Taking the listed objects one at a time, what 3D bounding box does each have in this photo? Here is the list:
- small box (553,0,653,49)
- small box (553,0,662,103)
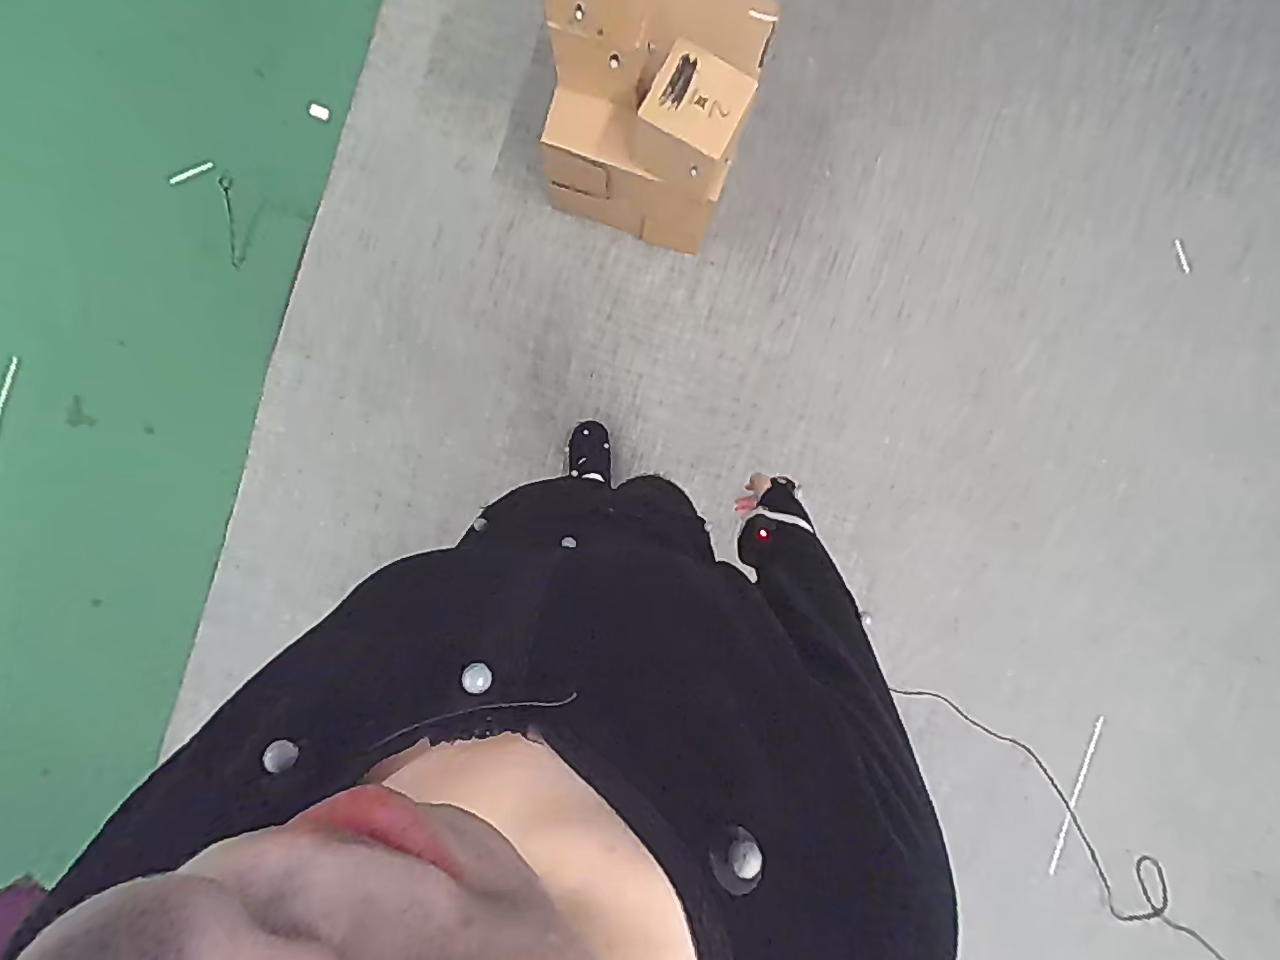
[{"bbox_3d":[-0.056,-0.891,0.905,0.168,0.176,0.179,18,91,-2],"label":"small box"},{"bbox_3d":[-0.057,-0.894,1.068,0.179,0.176,0.168,17,90,-2],"label":"small box"}]
